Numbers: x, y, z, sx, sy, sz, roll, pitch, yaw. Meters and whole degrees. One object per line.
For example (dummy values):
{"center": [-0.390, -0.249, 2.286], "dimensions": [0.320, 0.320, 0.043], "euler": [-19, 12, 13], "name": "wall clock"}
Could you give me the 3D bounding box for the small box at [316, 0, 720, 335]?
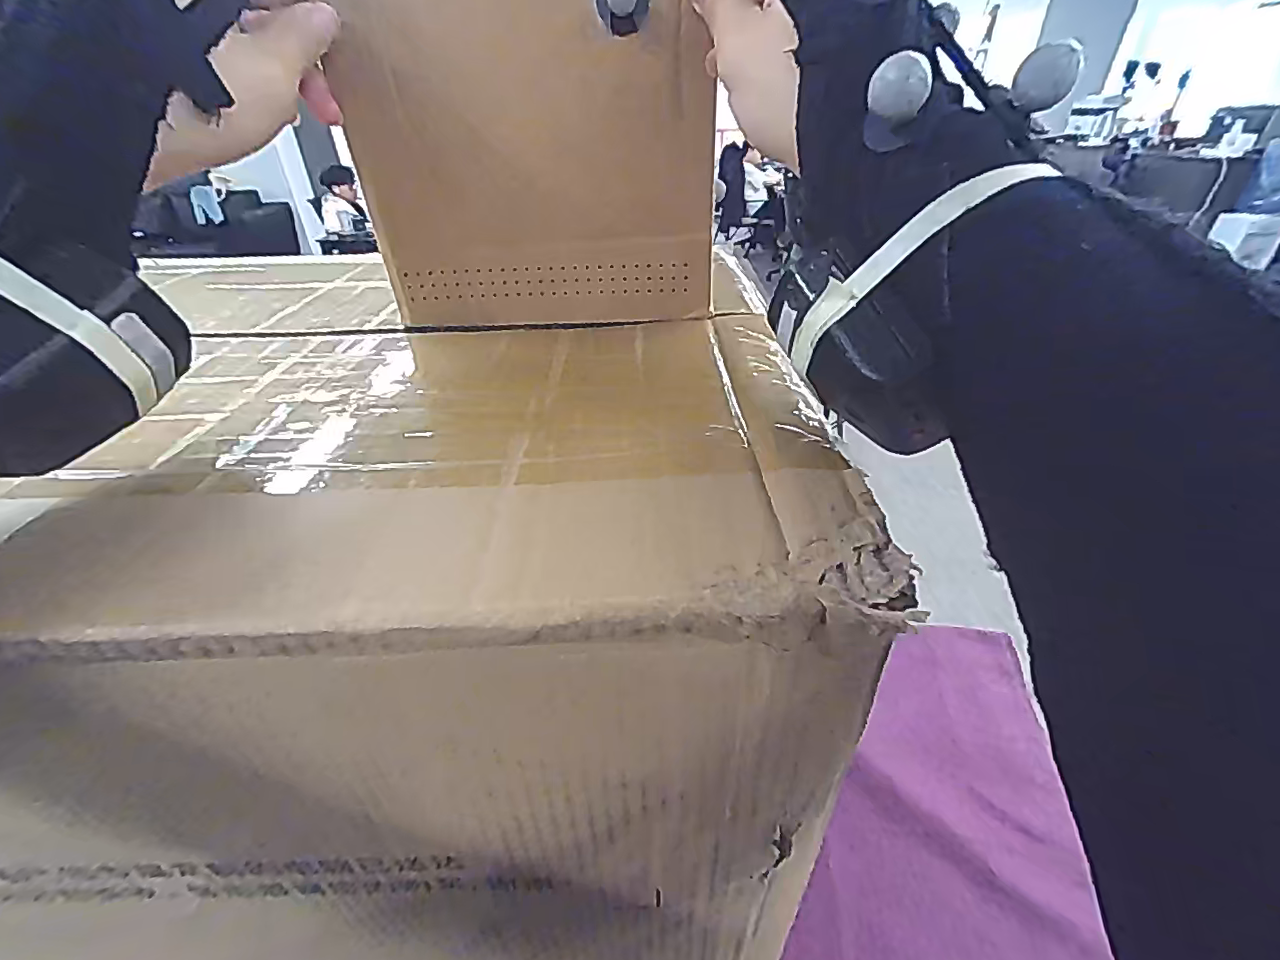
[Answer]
{"center": [-0.047, -0.191, 0.319], "dimensions": [0.179, 0.176, 0.168], "euler": [-1, 36, 2], "name": "small box"}
